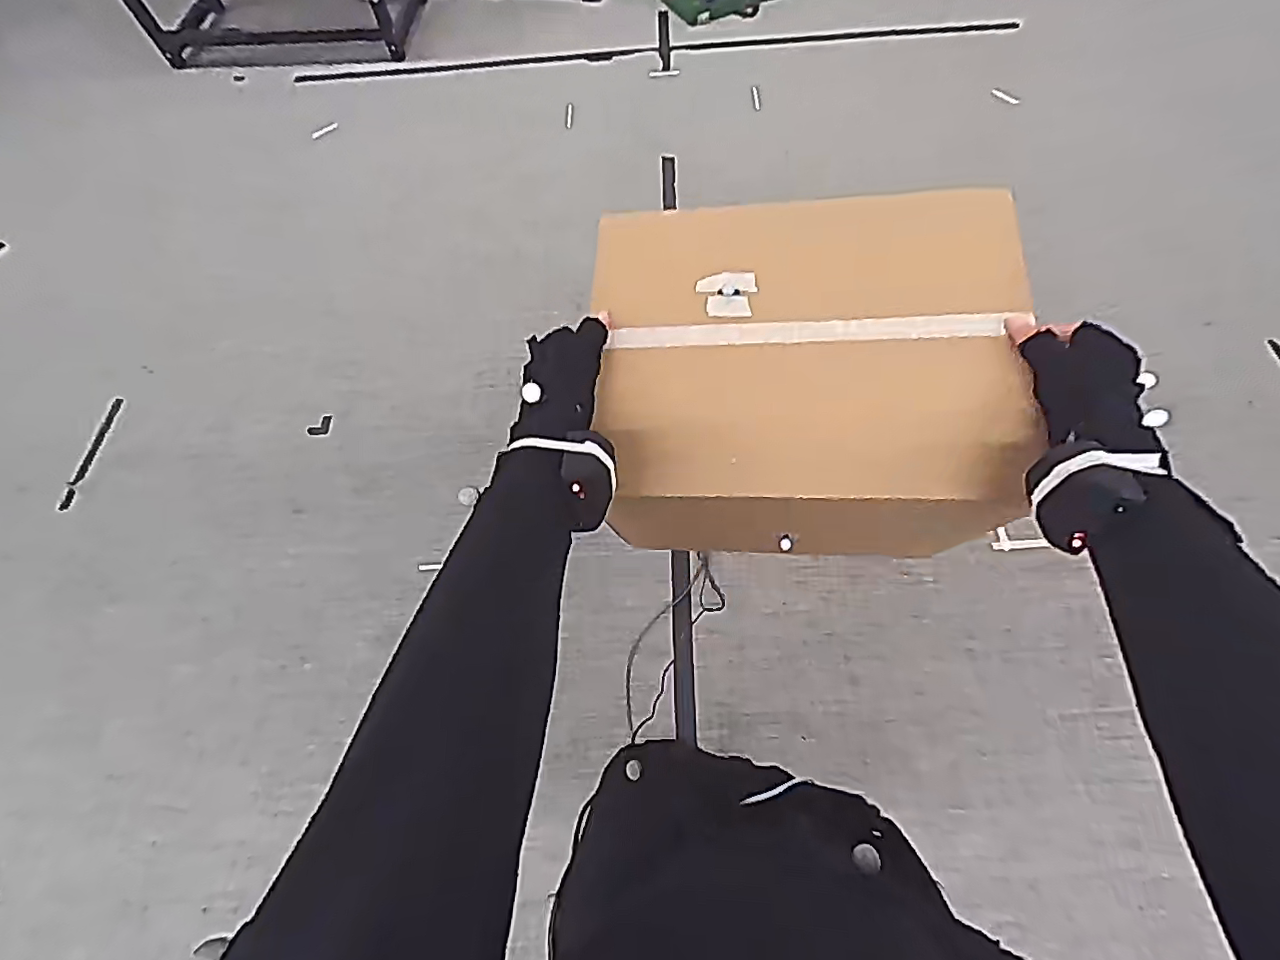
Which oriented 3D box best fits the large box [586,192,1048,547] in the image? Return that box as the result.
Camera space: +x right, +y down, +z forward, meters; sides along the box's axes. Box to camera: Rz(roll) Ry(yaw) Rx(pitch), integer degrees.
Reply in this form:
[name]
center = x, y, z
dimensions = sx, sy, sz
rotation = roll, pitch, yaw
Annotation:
[large box]
center = 0.178, -0.093, 0.661
dimensions = 0.408, 0.320, 0.320
rotation = 0, 73, 11
